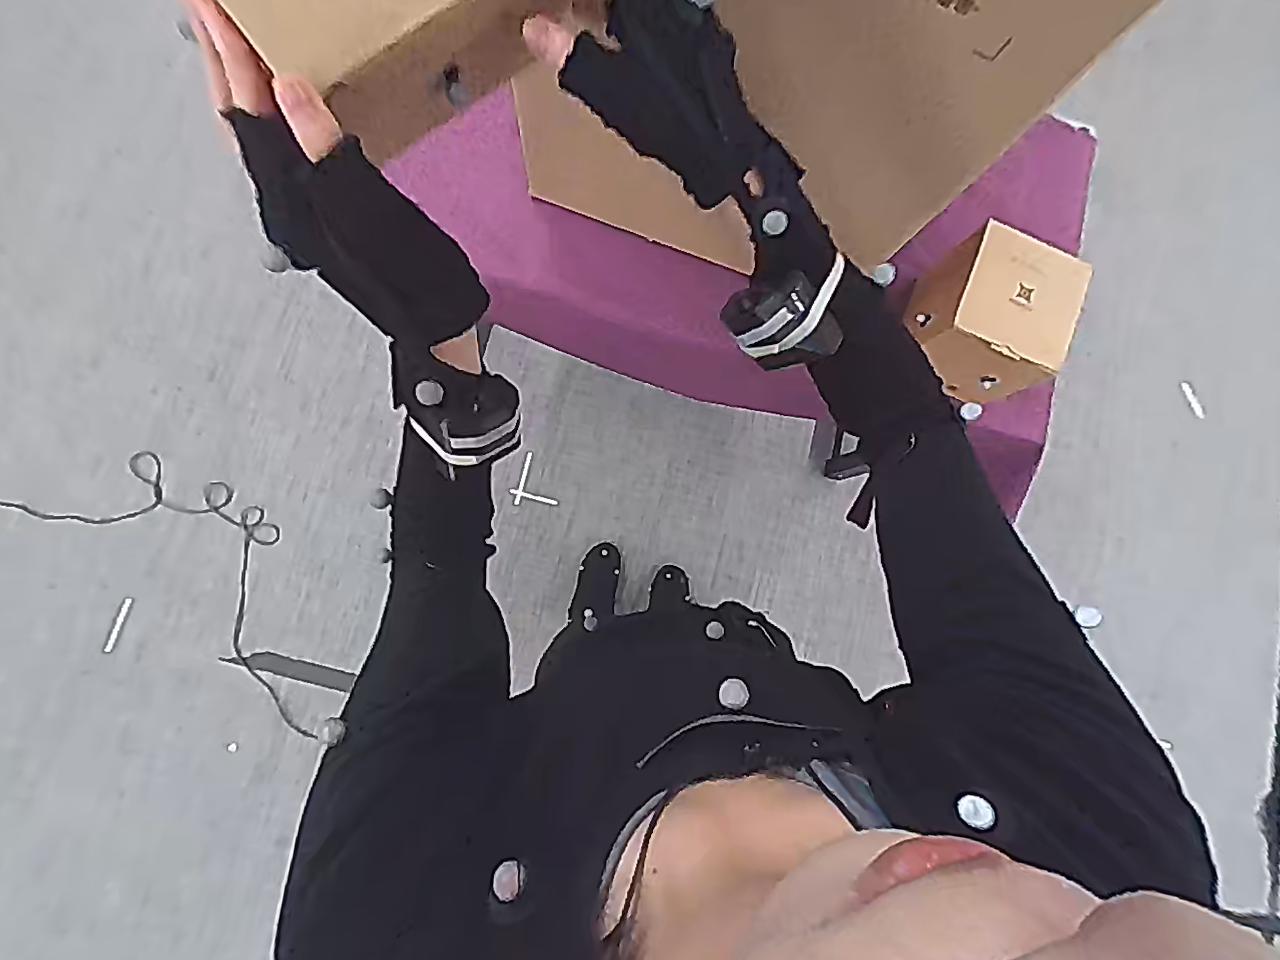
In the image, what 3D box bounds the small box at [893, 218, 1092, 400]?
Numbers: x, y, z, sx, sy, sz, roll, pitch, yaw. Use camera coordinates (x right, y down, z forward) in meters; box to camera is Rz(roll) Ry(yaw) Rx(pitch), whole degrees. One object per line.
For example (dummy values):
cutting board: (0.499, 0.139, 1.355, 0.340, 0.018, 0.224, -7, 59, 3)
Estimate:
small box: (0.514, -0.242, 0.814, 0.168, 0.176, 0.179, 23, 80, -3)
